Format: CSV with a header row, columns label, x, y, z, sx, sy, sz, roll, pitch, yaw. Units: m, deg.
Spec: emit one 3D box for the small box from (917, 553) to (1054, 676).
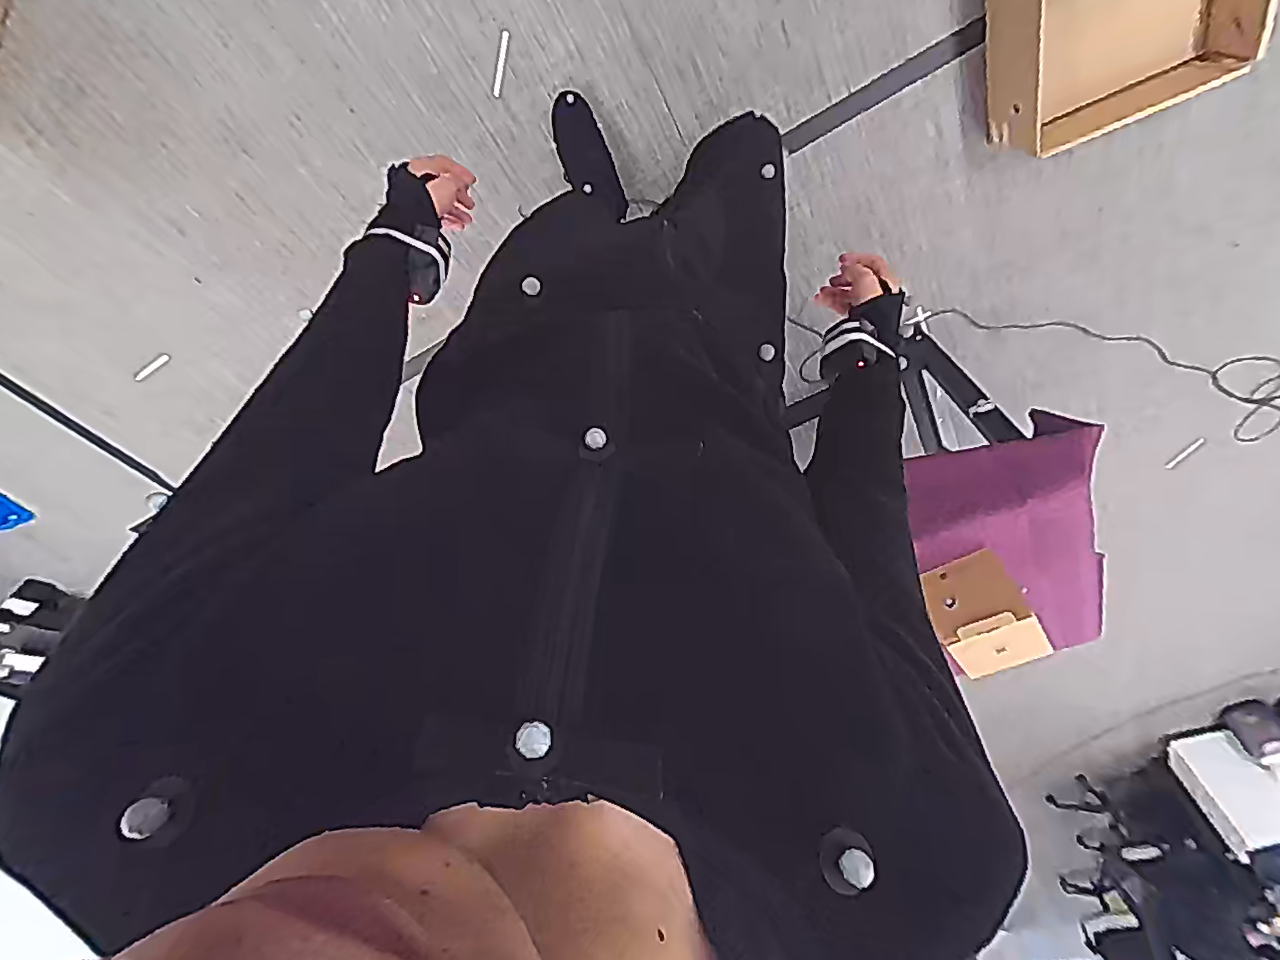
label,x,y,z,sx,sy,sz,roll,pitch,yaw
small box,0.708,0.273,1.124,0.168,0.176,0.179,-31,126,24
